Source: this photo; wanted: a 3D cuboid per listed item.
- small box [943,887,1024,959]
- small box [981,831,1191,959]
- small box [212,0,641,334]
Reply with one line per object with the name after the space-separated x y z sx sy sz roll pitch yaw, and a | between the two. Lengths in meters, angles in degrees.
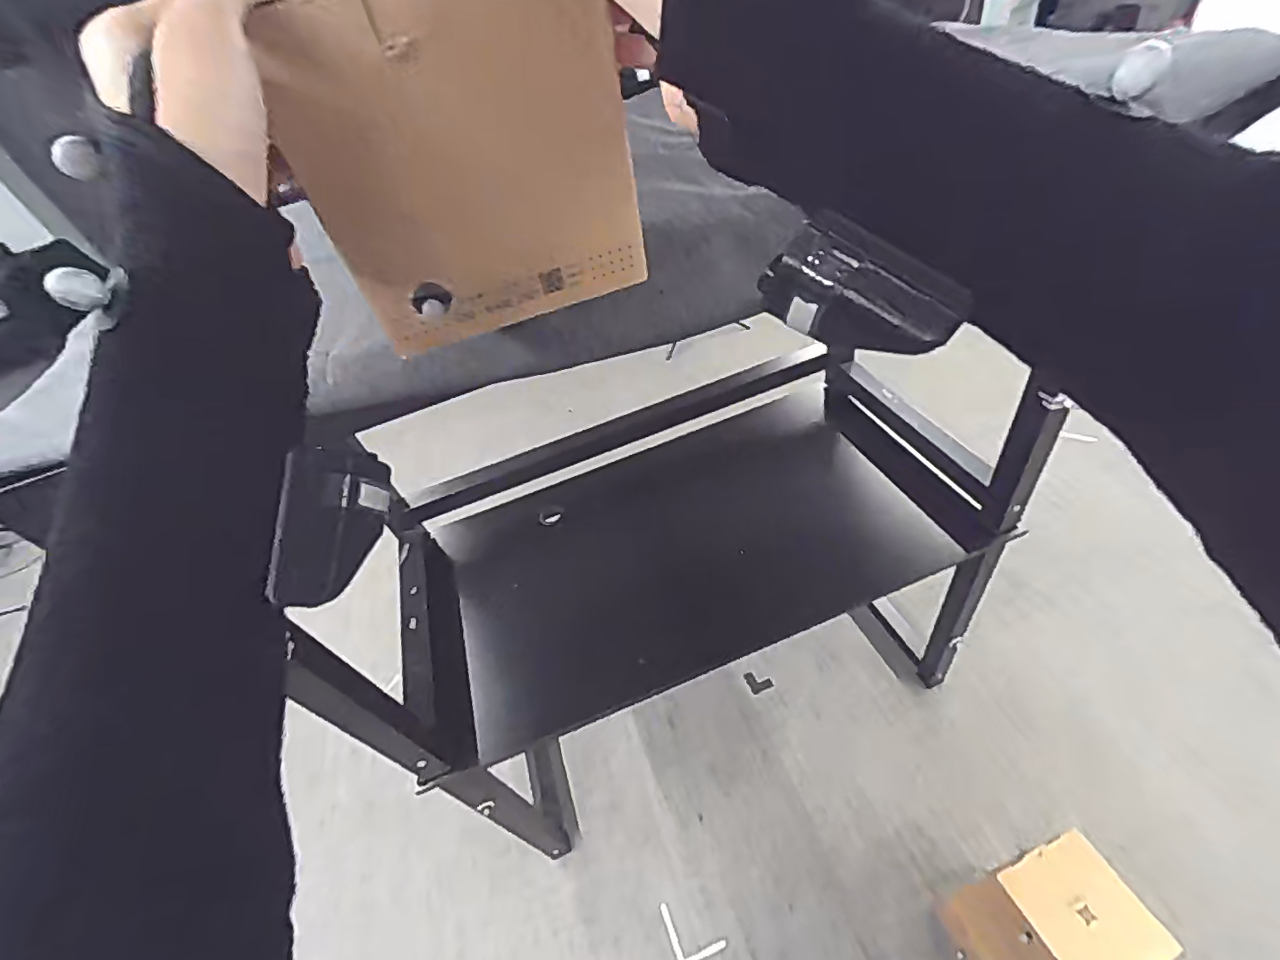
0.761 0.936 1.110 0.179 0.176 0.168 -23 45 -6 | small box
0.701 0.714 0.876 0.168 0.176 0.179 -24 45 -8 | small box
-0.109 -0.212 0.335 0.168 0.176 0.179 -21 49 -7 | small box
